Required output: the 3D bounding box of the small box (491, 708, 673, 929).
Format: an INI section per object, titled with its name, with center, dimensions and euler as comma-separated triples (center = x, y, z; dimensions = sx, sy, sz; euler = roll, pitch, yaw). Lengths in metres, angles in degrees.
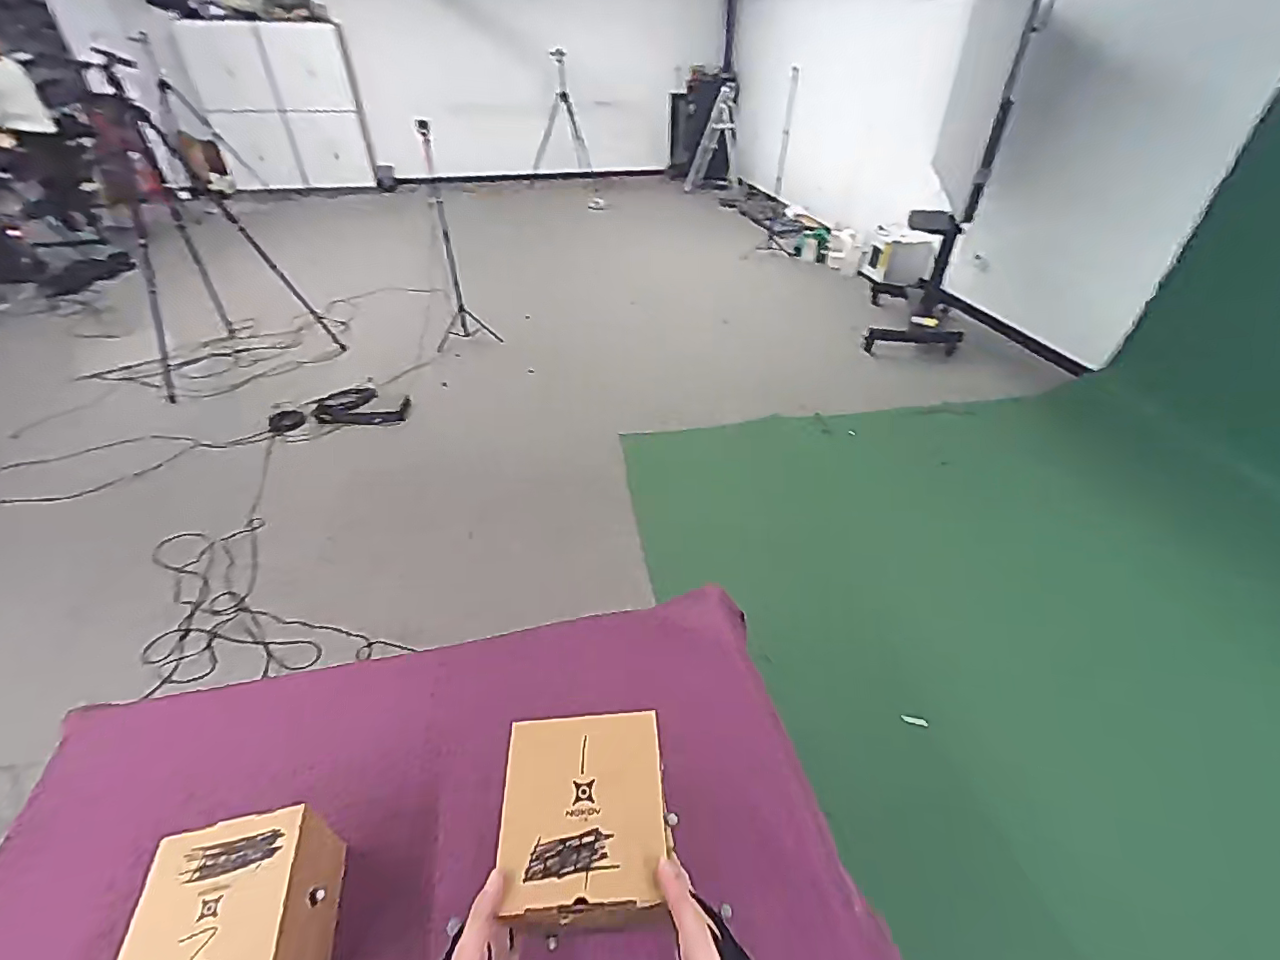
[small box]
center = -0.052, 0.380, 0.603
dimensions = 0.168, 0.176, 0.179
euler = -4, 43, 1
